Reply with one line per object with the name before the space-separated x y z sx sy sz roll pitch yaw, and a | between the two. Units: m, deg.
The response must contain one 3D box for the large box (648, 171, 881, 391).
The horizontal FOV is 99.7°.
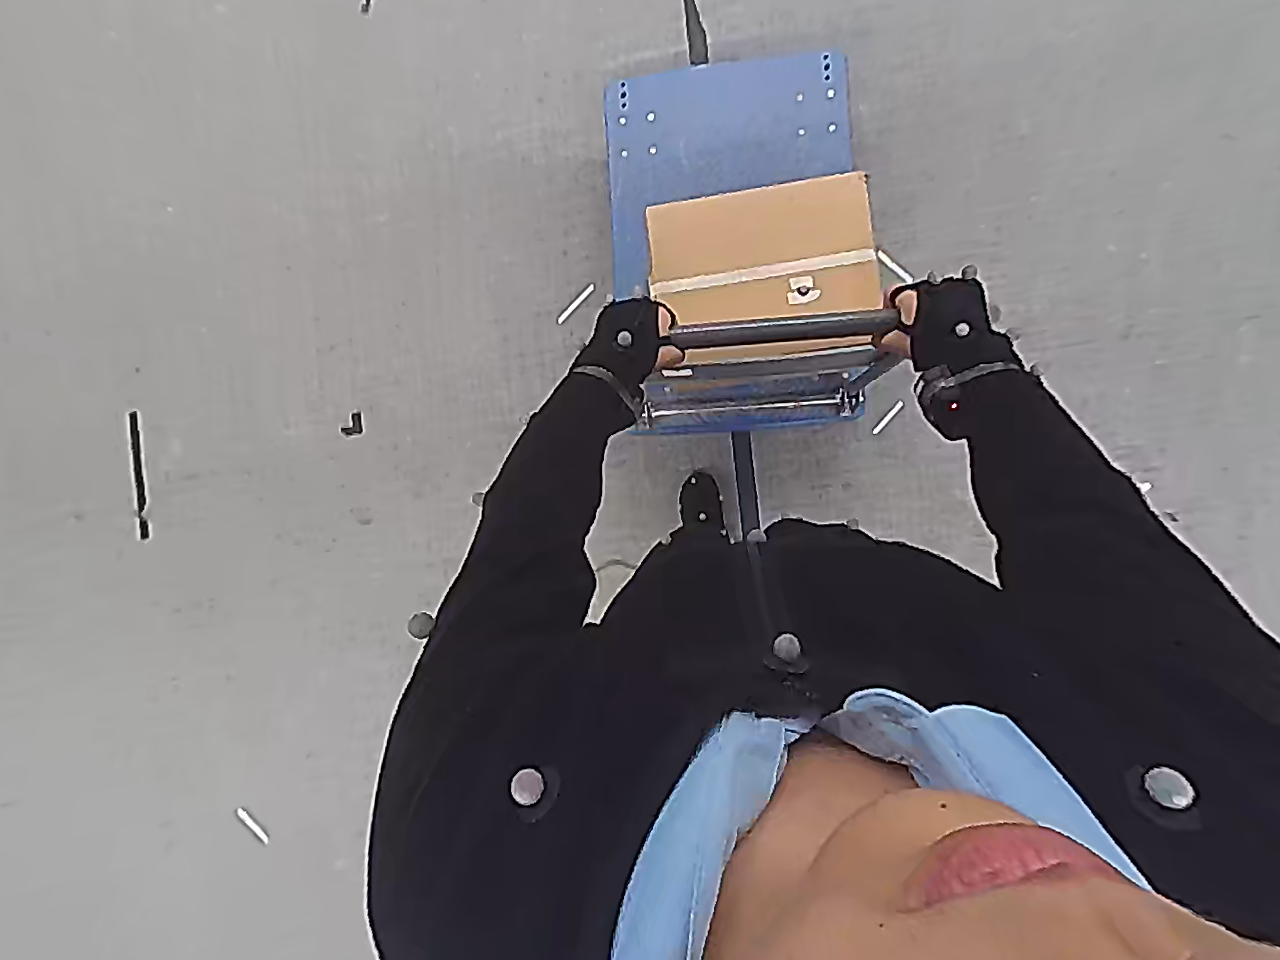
large box | 0.243 -0.393 1.160 0.408 0.320 0.320 -7 91 5
